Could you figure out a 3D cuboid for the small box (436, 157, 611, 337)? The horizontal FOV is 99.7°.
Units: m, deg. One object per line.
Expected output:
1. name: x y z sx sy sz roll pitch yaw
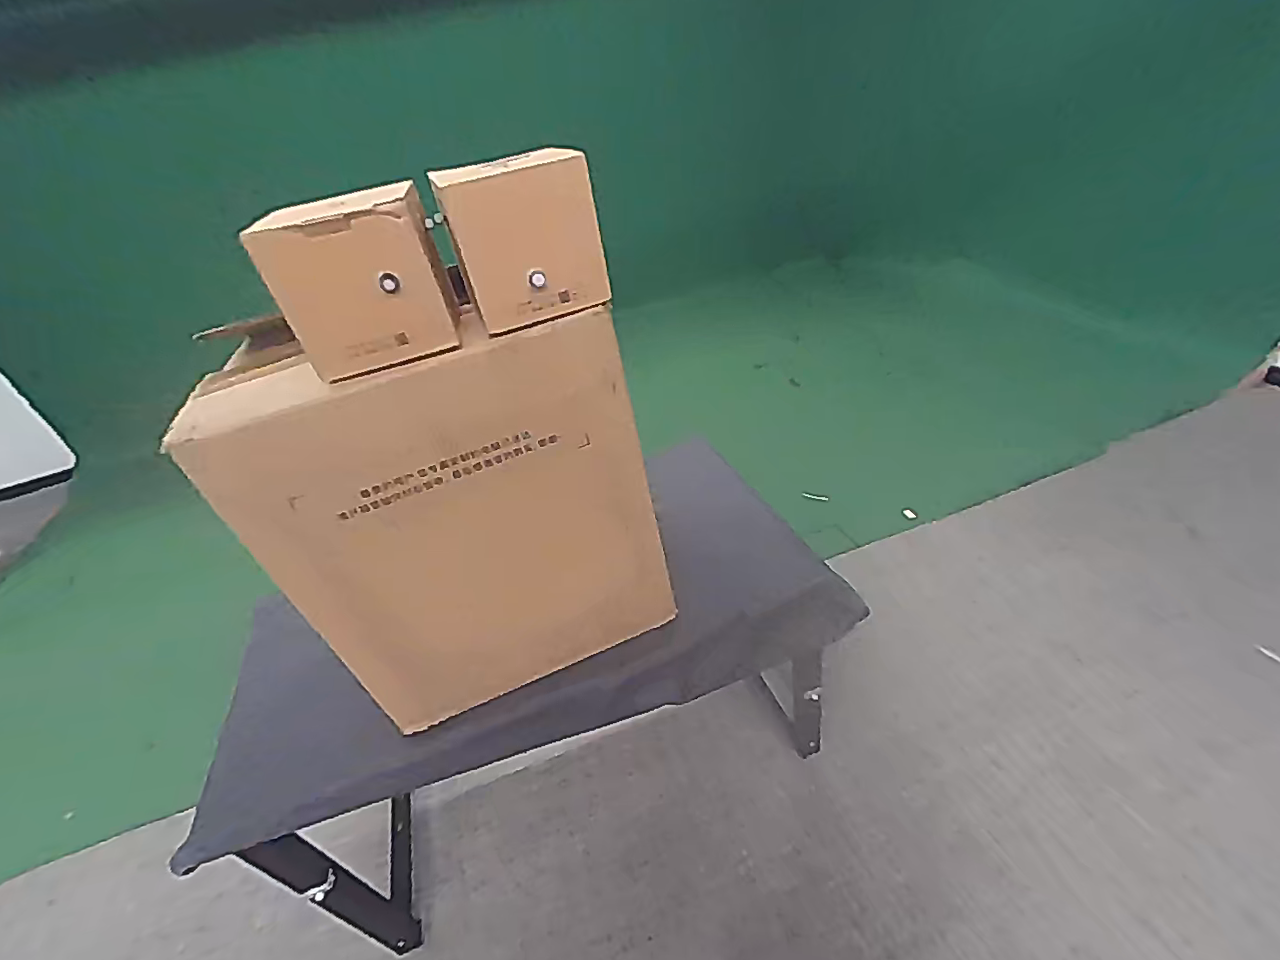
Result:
1. small box: -0.150 -0.304 0.701 0.168 0.176 0.179 -20 38 -12
